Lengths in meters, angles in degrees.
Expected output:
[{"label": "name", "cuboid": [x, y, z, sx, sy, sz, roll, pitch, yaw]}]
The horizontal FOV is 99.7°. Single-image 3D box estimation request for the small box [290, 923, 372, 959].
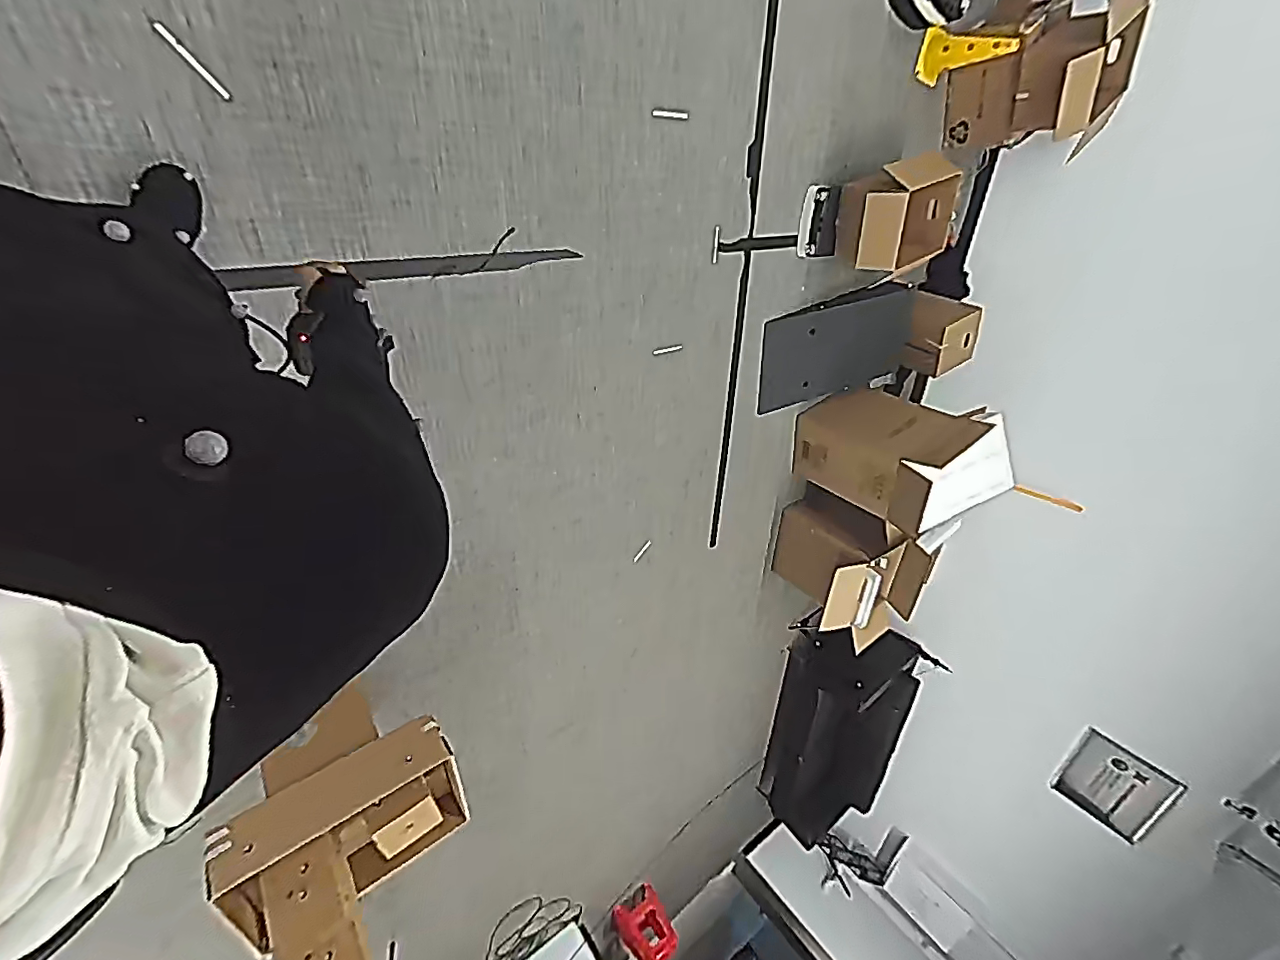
[{"label": "small box", "cuboid": [-0.740, 1.229, 1.302, 0.168, 0.176, 0.179, -23, 128, -33]}]
